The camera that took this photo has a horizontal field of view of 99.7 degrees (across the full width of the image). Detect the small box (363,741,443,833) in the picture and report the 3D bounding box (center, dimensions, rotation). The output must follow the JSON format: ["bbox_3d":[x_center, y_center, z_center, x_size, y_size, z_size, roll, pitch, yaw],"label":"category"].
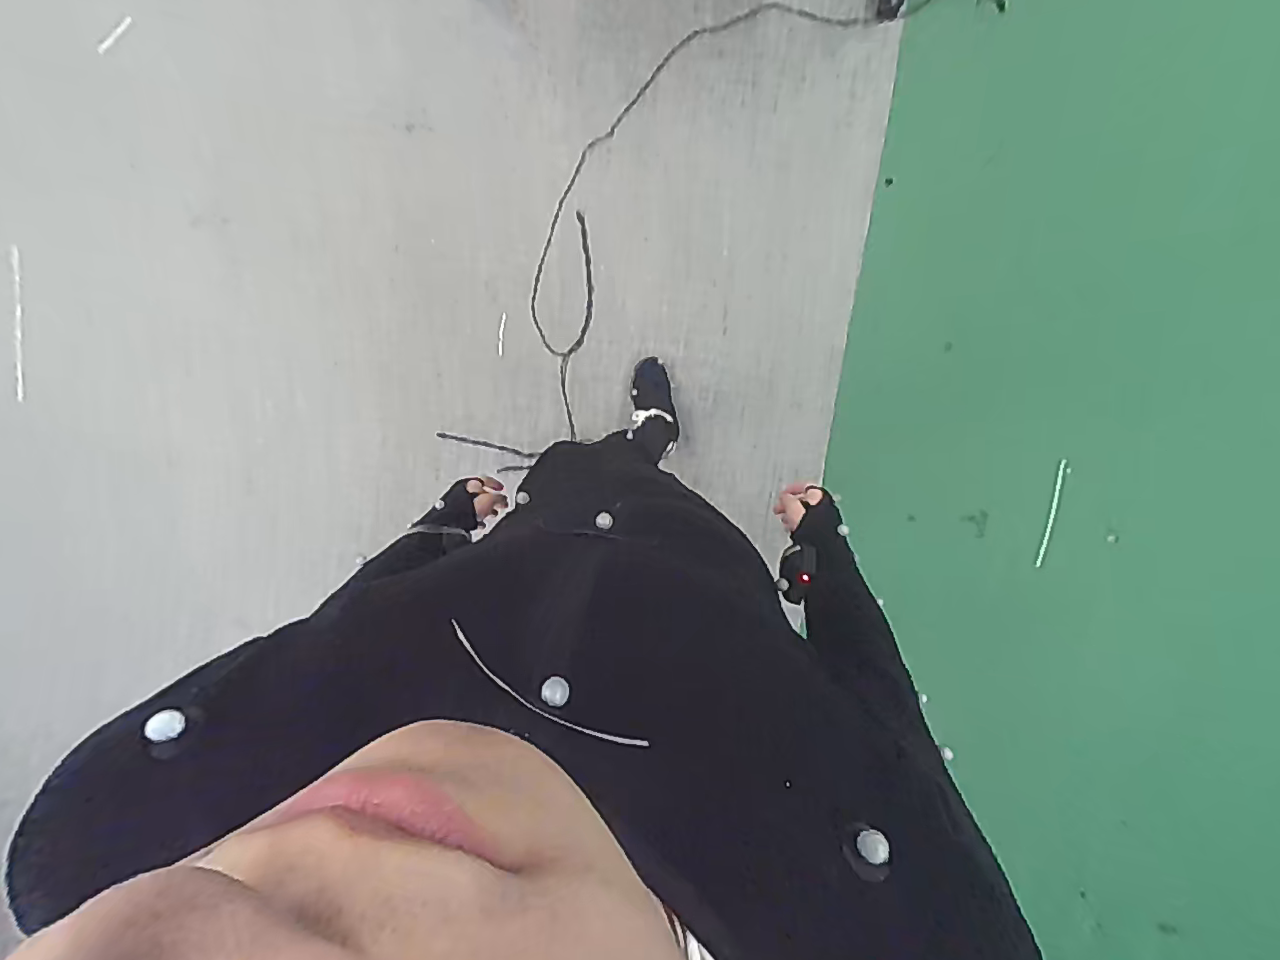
[{"bbox_3d":[-0.730,0.946,1.683,0.168,0.176,0.179,9,96,3],"label":"small box"}]
